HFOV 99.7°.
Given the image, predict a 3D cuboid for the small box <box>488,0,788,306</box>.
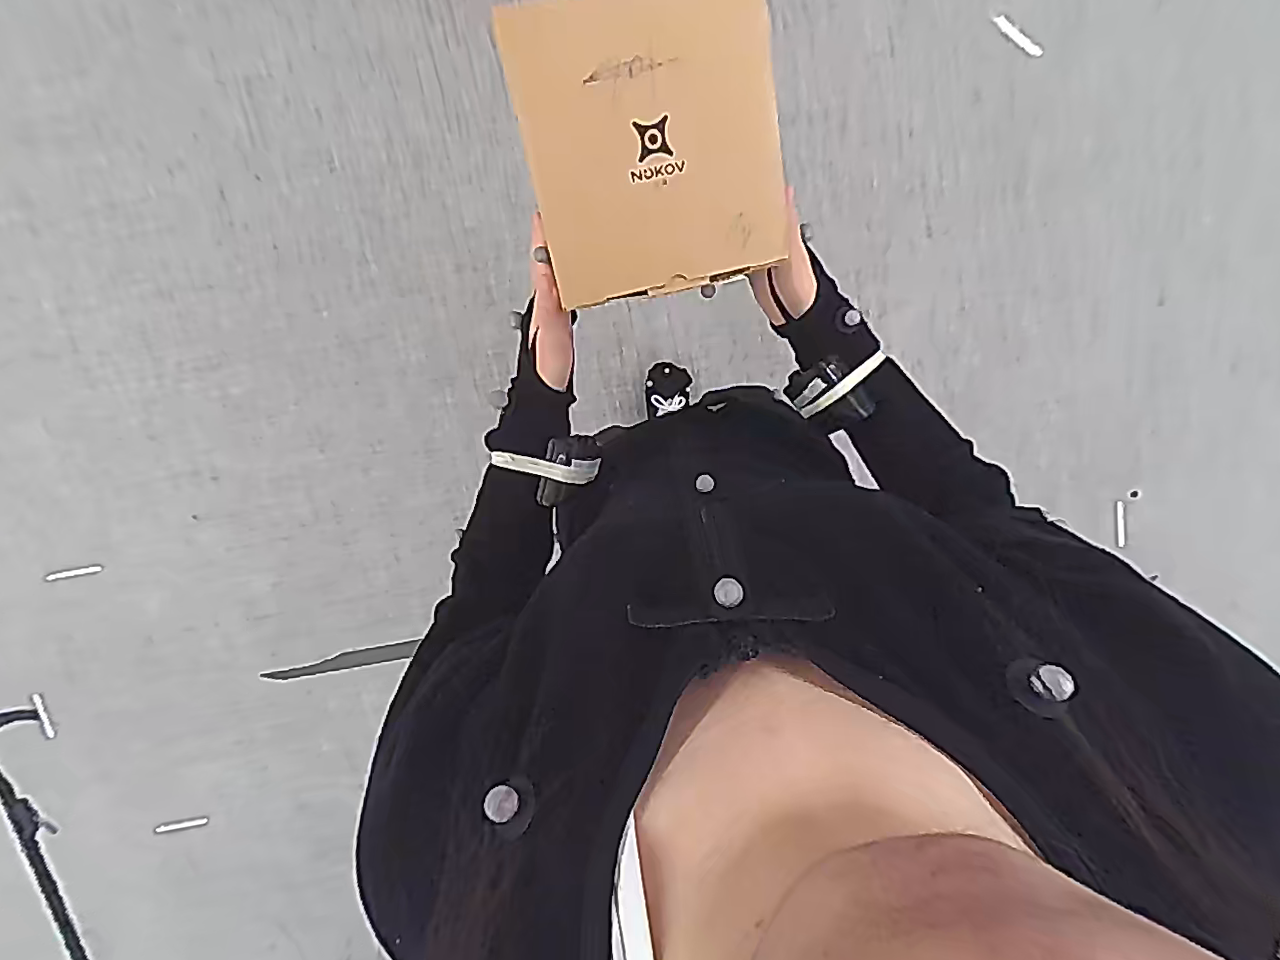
[{"bbox_3d":[0.000,-0.244,0.420,0.168,0.176,0.179,-14,110,-1],"label":"small box"}]
